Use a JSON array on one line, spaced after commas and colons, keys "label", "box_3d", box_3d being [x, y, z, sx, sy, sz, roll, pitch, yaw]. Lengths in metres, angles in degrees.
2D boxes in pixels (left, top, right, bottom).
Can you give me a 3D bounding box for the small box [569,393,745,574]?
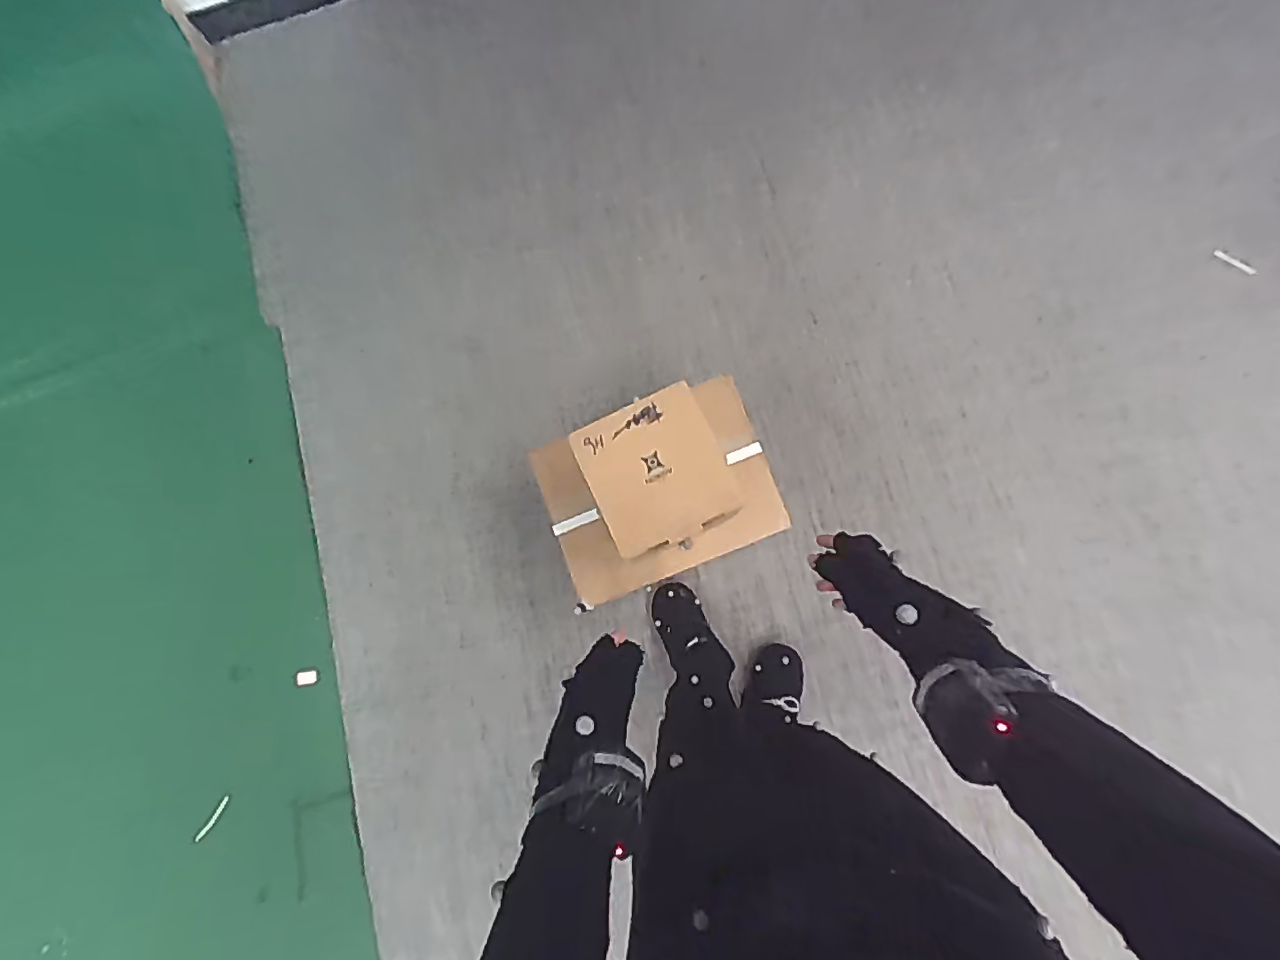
[{"label": "small box", "box_3d": [0.026, 0.012, 0.733, 0.168, 0.176, 0.179, -26, 81, 0]}]
